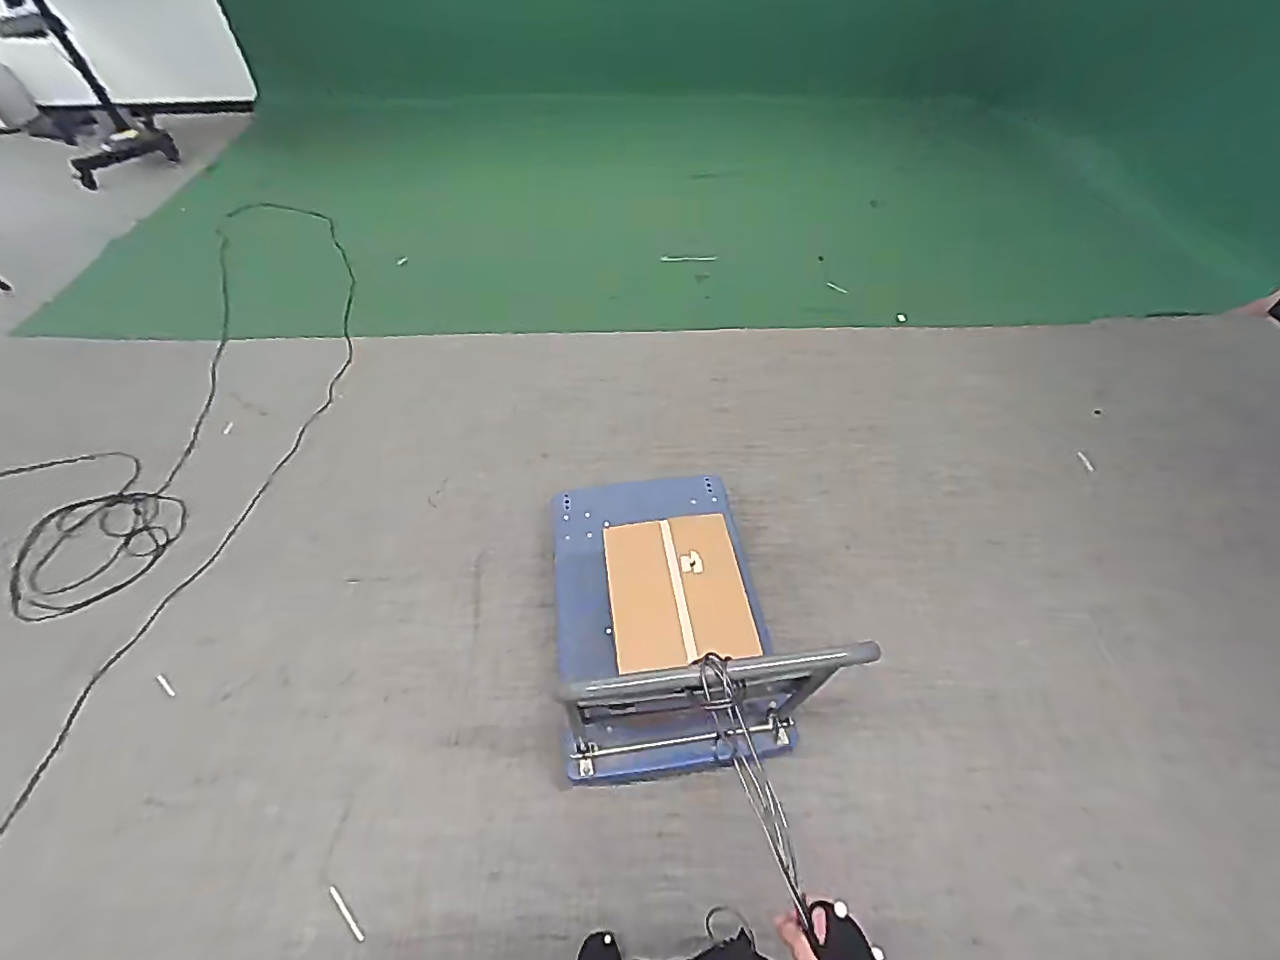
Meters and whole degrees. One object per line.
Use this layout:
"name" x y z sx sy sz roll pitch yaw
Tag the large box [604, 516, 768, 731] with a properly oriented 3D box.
"large box" 0.092 0.355 1.349 0.320 0.320 0.408 -6 51 -5
